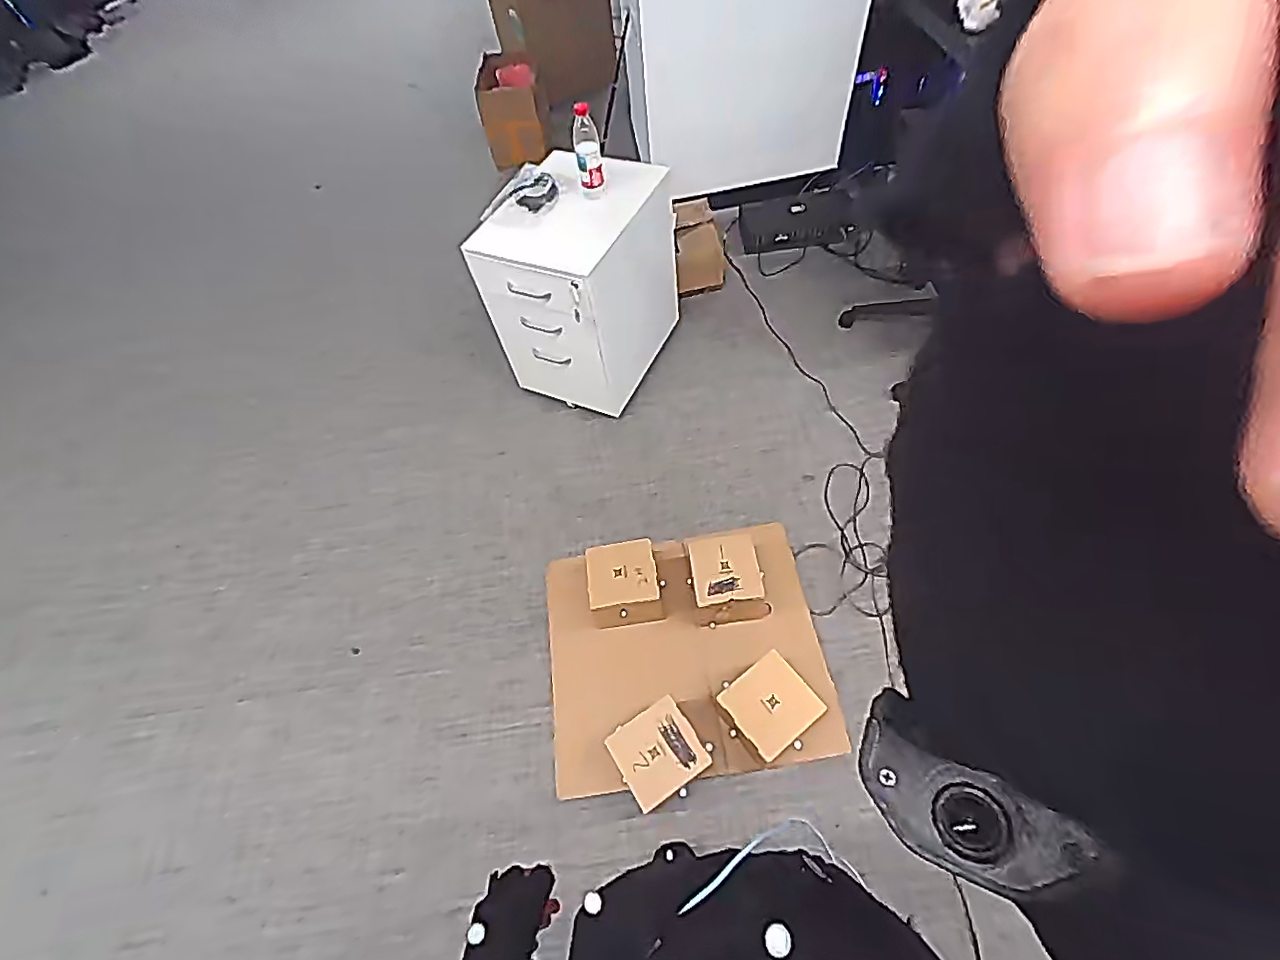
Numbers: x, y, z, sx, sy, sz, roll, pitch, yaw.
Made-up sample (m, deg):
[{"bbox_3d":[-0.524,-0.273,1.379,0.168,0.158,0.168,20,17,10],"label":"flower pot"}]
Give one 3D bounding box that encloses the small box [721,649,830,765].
[{"bbox_3d":[0.302,0.524,1.243,0.179,0.176,0.168,-36,60,-12],"label":"small box"}]
